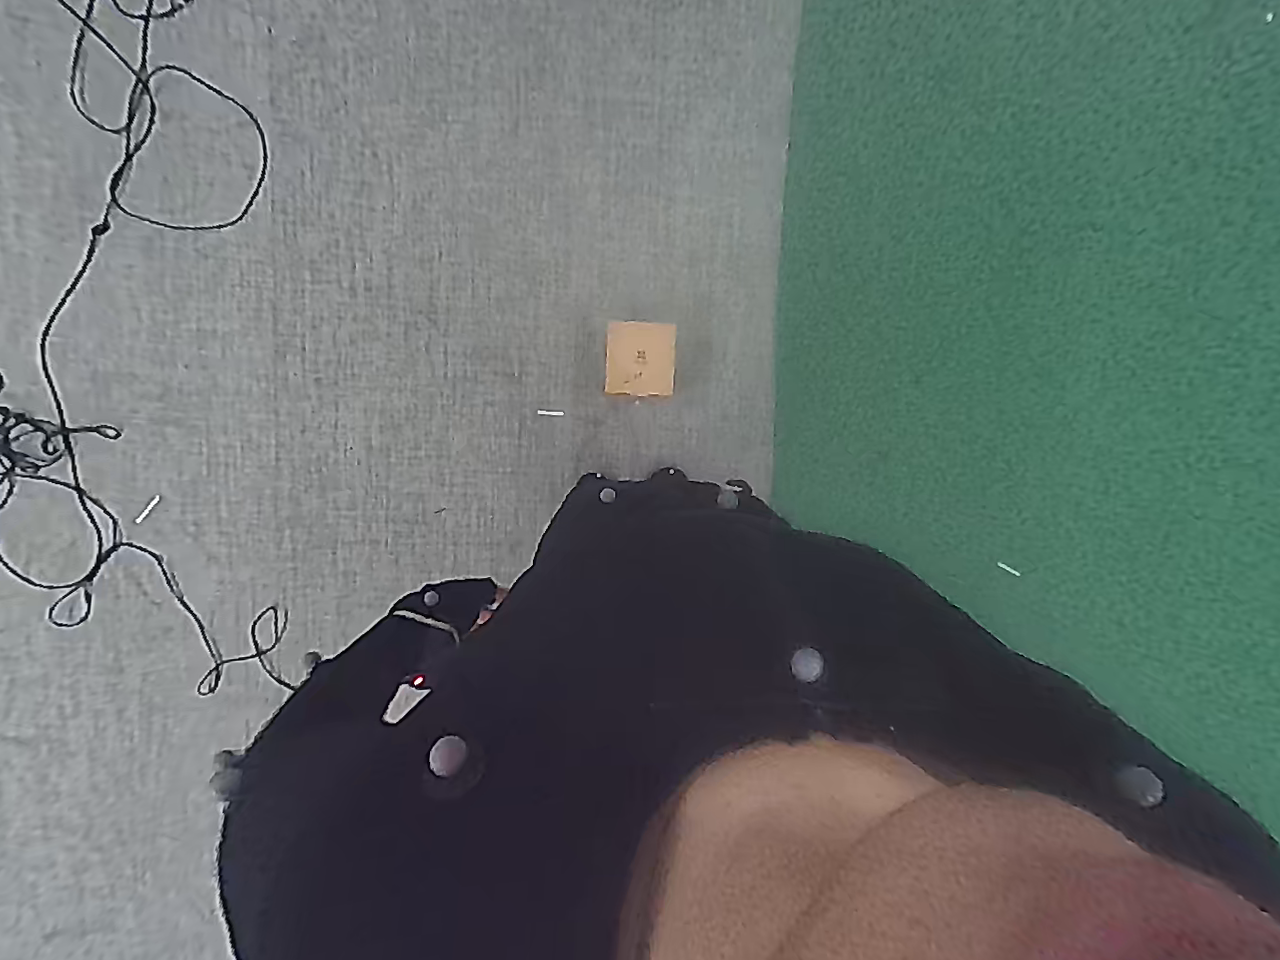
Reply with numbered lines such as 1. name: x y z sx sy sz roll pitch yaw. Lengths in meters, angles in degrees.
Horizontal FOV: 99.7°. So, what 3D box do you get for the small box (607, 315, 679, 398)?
1. small box: 0.004 -0.309 1.384 0.168 0.176 0.179 3 94 -2
